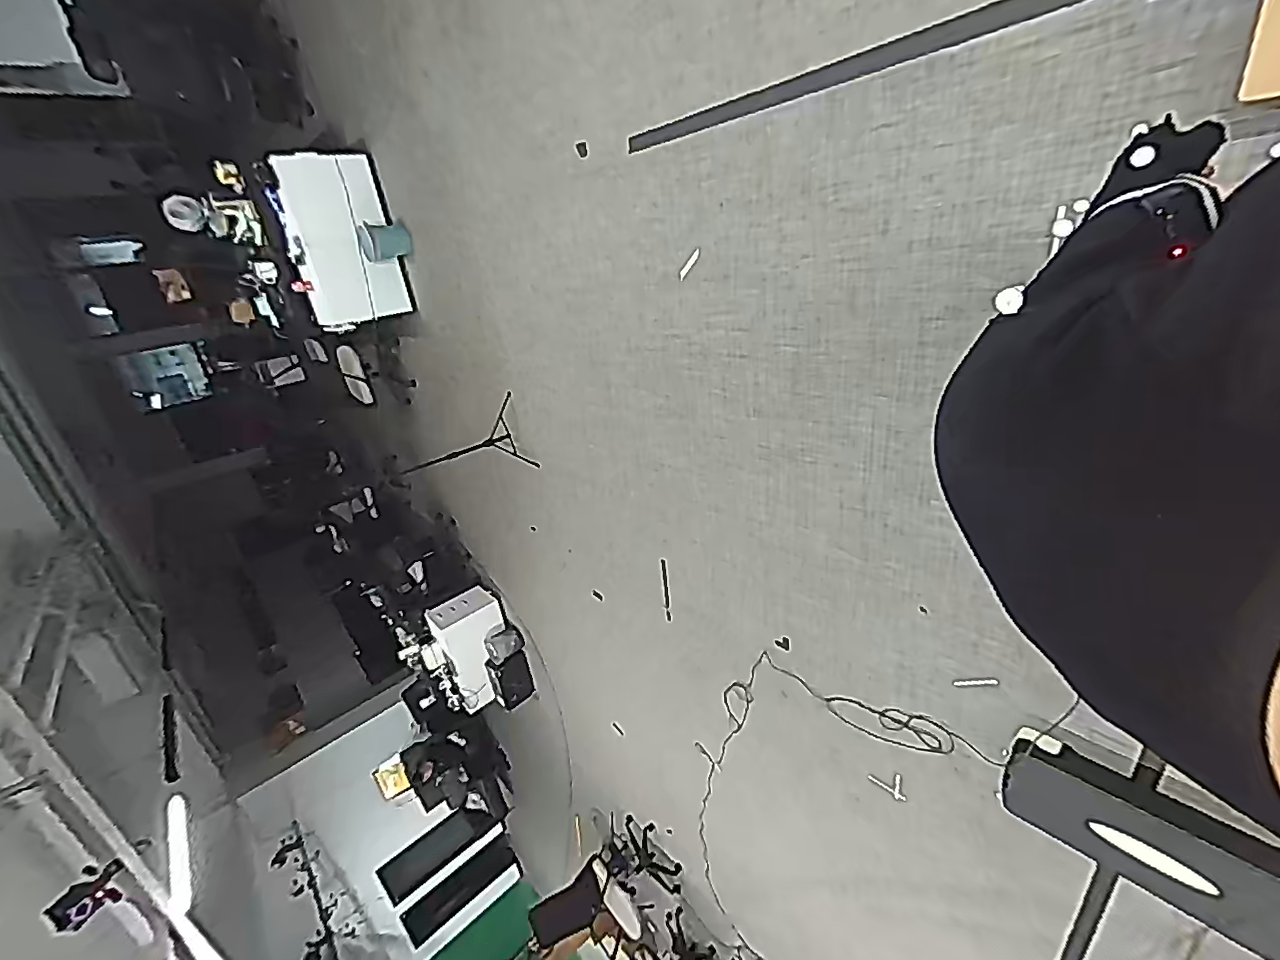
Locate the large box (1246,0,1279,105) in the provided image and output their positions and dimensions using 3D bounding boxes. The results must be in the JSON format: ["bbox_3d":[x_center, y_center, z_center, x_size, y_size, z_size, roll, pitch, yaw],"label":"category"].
[{"bbox_3d":[1.030,-0.667,0.614,0.408,0.320,0.320,18,125,45],"label":"large box"}]
